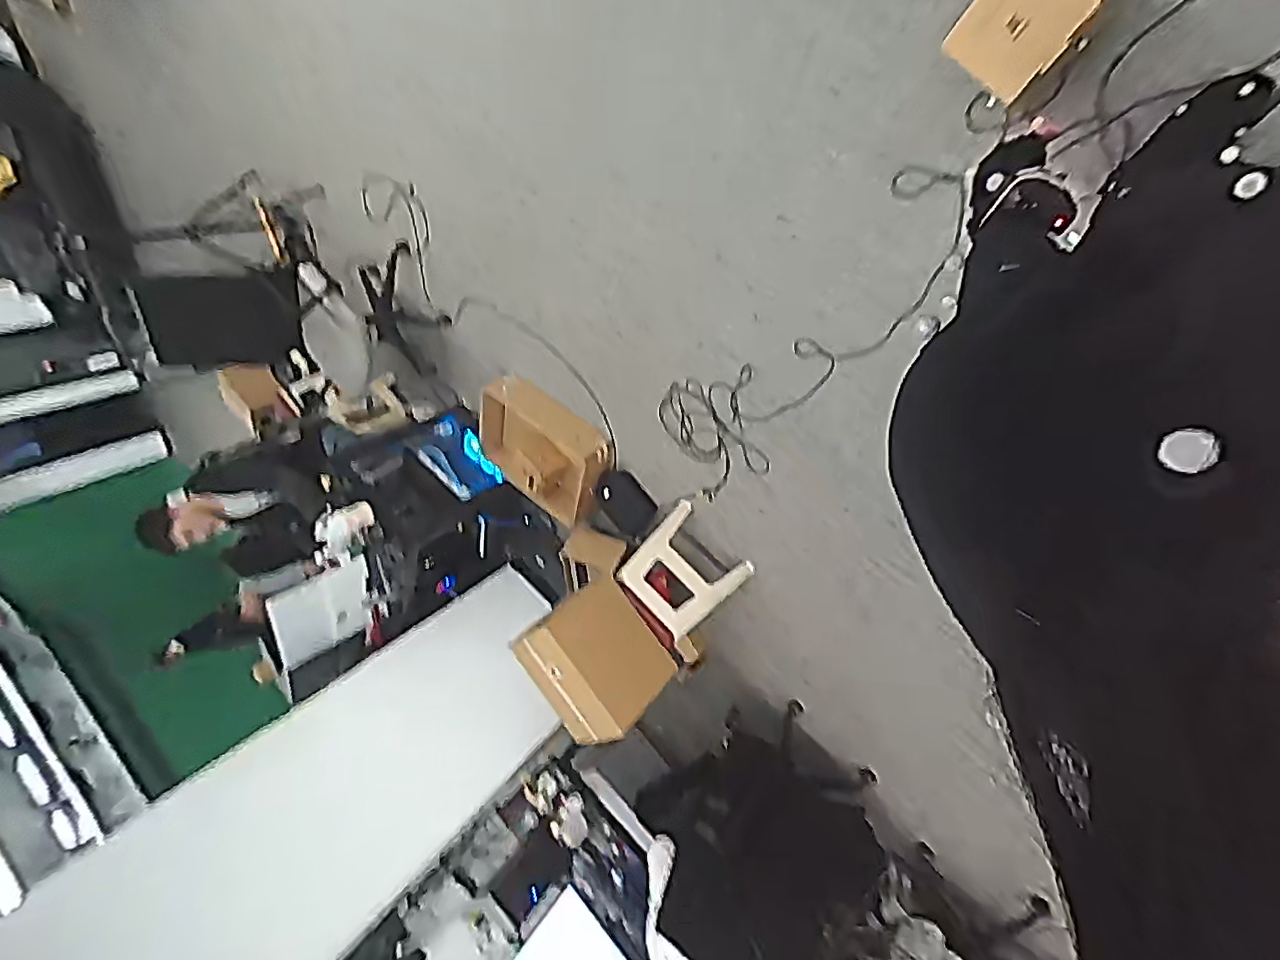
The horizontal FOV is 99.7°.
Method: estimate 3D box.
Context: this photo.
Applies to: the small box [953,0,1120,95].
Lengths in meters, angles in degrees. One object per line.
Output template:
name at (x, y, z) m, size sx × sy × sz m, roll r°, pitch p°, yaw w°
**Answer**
small box at (0.709, -0.822, 0.964) m, size 0.179 × 0.176 × 0.168 m, roll 49°, pitch 136°, yaw 11°
